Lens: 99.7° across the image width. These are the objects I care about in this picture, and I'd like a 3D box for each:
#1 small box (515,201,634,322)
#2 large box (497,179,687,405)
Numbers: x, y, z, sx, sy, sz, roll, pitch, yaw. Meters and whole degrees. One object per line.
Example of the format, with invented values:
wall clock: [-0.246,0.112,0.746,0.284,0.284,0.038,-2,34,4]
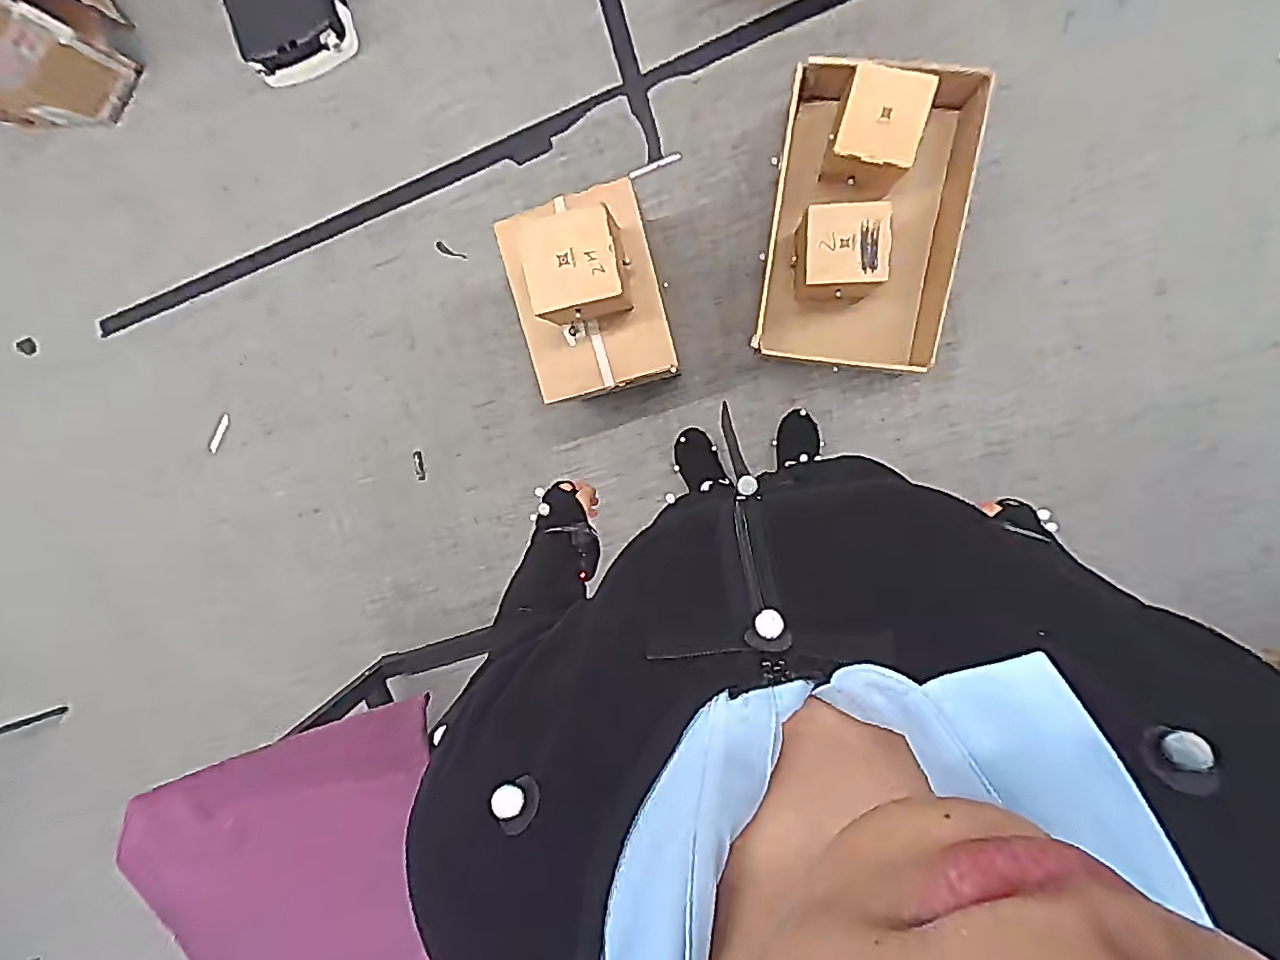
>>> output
small box: [-0.119,-0.413,1.055,0.179,0.176,0.168,-10,99,8]
large box: [-0.090,-0.421,1.303,0.320,0.320,0.408,-15,98,11]
